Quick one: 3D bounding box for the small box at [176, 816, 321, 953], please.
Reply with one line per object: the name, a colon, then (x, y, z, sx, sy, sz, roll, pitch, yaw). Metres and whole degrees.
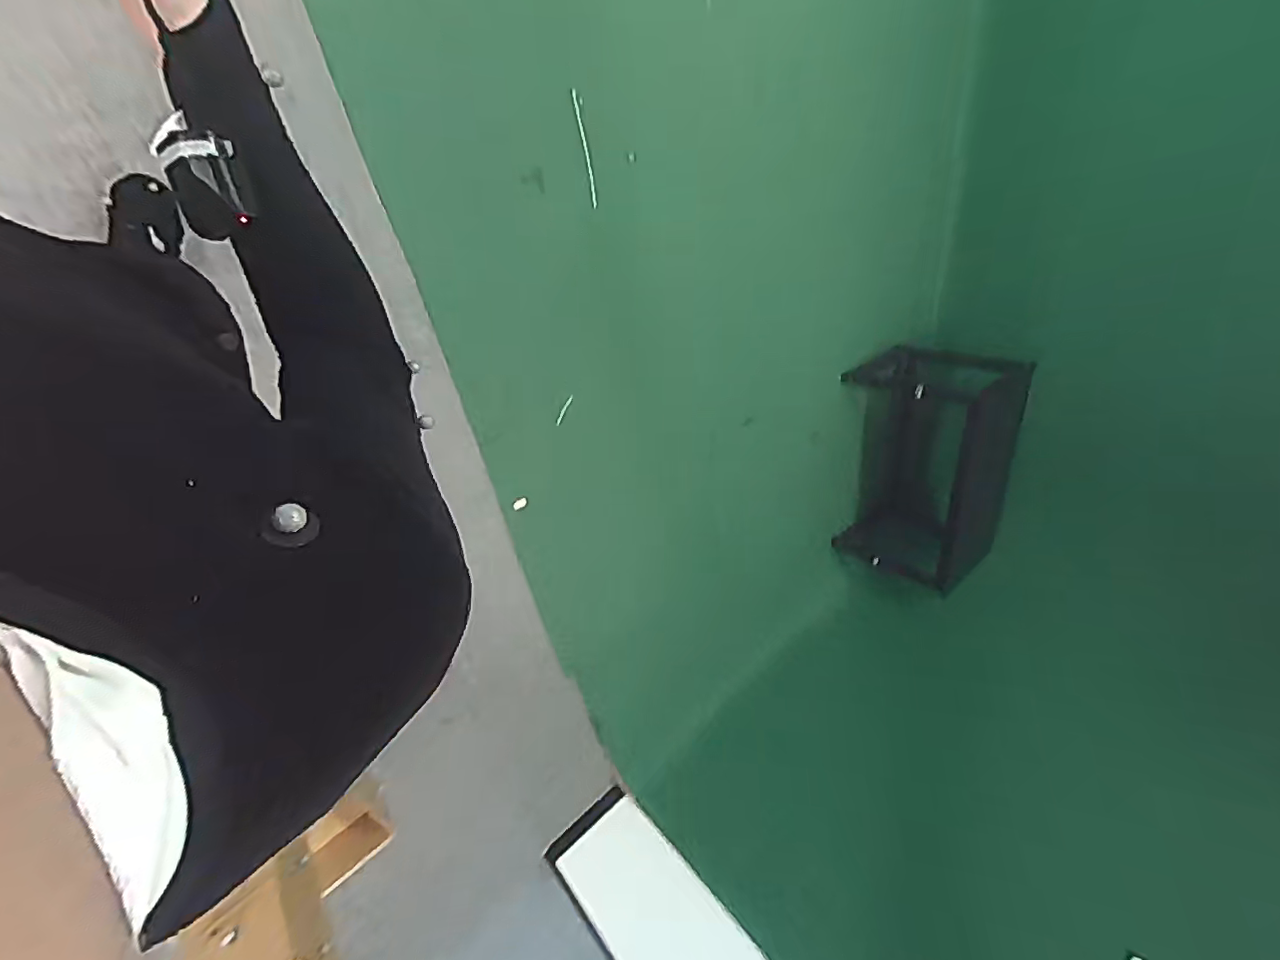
small box: (-0.764, 0.803, 1.054, 0.168, 0.176, 0.179, -31, 129, -27)

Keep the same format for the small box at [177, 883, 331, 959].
small box: (-0.659, 0.856, 0.937, 0.168, 0.176, 0.179, -33, 129, -27)
